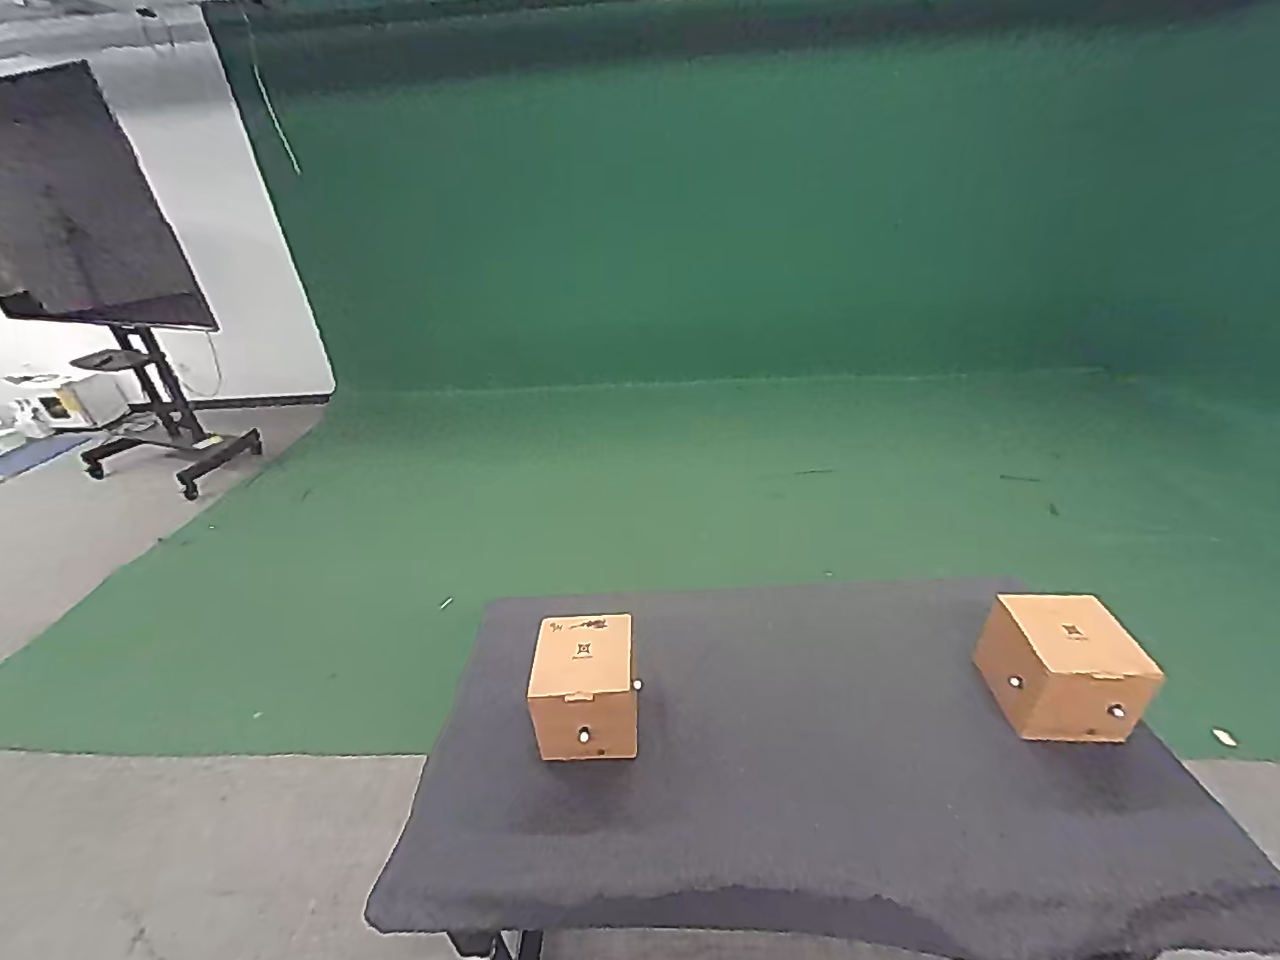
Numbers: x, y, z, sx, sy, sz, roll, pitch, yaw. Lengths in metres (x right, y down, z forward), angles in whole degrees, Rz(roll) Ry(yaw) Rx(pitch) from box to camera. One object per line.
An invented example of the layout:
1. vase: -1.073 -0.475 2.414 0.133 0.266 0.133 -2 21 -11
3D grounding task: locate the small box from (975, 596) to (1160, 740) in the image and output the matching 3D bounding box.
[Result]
1. small box: 0.714 0.320 0.929 0.168 0.176 0.179 0 29 5

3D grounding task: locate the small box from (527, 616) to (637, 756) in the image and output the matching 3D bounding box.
1. small box: -0.092 0.366 0.958 0.168 0.176 0.179 -3 30 1
